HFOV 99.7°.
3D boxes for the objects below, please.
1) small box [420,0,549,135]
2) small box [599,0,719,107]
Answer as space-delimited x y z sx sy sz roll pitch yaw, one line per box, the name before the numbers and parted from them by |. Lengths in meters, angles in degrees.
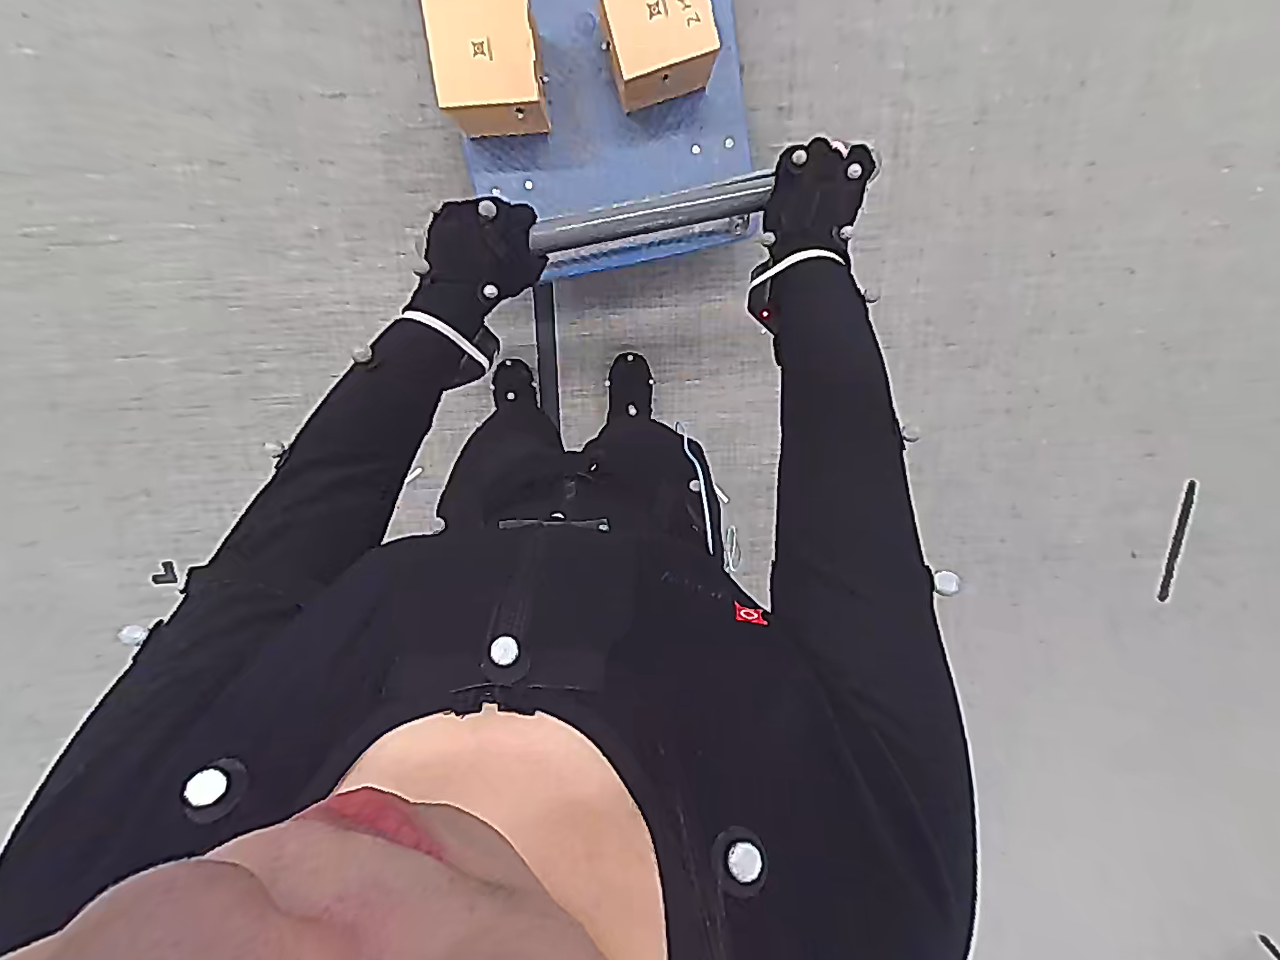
small box | -0.270 -0.745 0.977 0.179 0.176 0.168 -6 108 -2
small box | 0.028 -0.805 0.968 0.179 0.176 0.168 -16 108 4
